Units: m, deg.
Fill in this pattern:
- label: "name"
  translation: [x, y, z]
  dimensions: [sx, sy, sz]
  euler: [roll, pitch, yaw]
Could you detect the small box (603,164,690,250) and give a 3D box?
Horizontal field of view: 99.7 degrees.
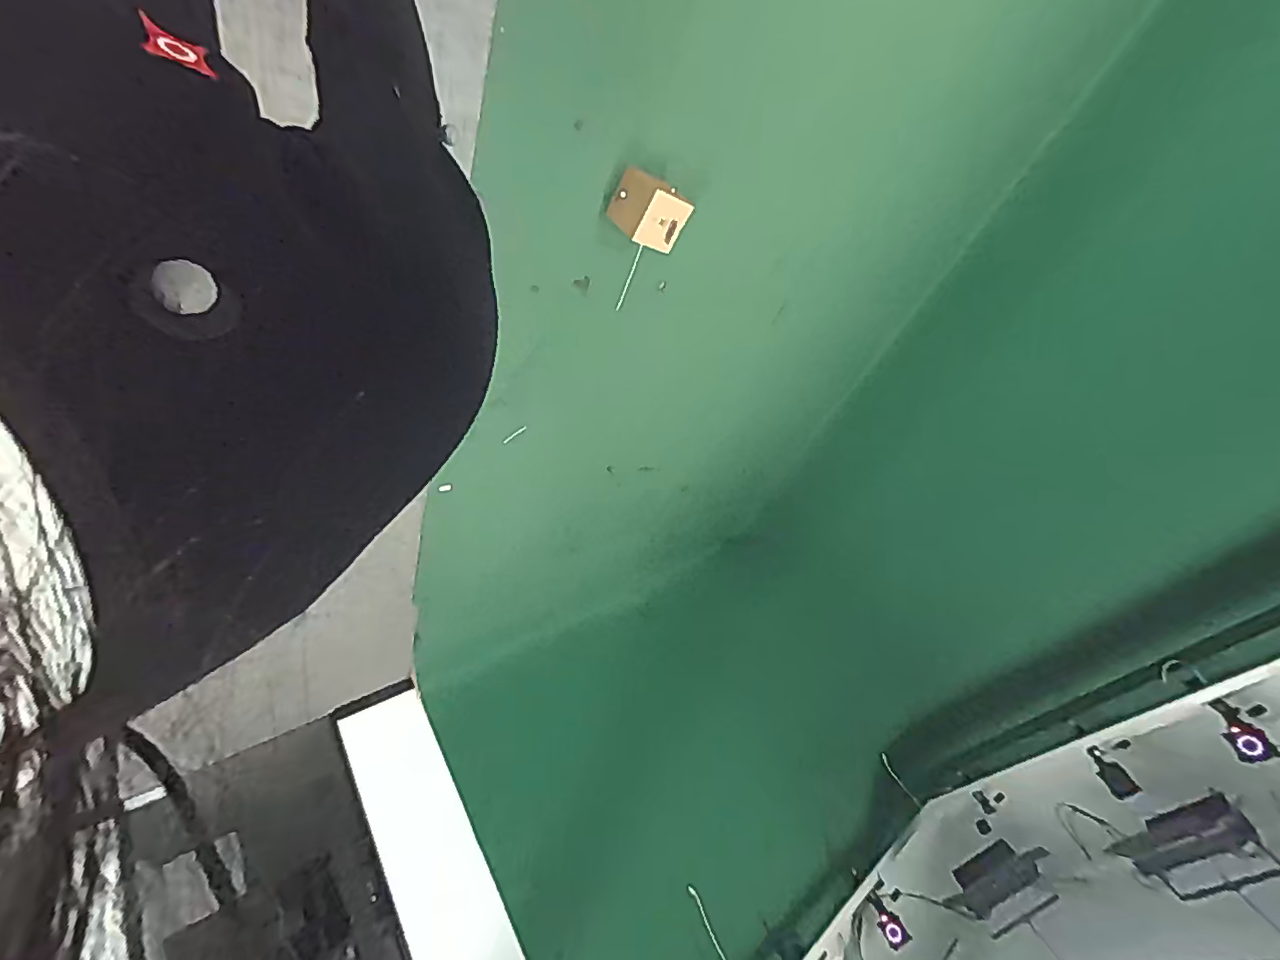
- label: "small box"
  translation: [0.018, -0.869, 1.722]
  dimensions: [0.179, 0.176, 0.168]
  euler: [-4, 138, -46]
